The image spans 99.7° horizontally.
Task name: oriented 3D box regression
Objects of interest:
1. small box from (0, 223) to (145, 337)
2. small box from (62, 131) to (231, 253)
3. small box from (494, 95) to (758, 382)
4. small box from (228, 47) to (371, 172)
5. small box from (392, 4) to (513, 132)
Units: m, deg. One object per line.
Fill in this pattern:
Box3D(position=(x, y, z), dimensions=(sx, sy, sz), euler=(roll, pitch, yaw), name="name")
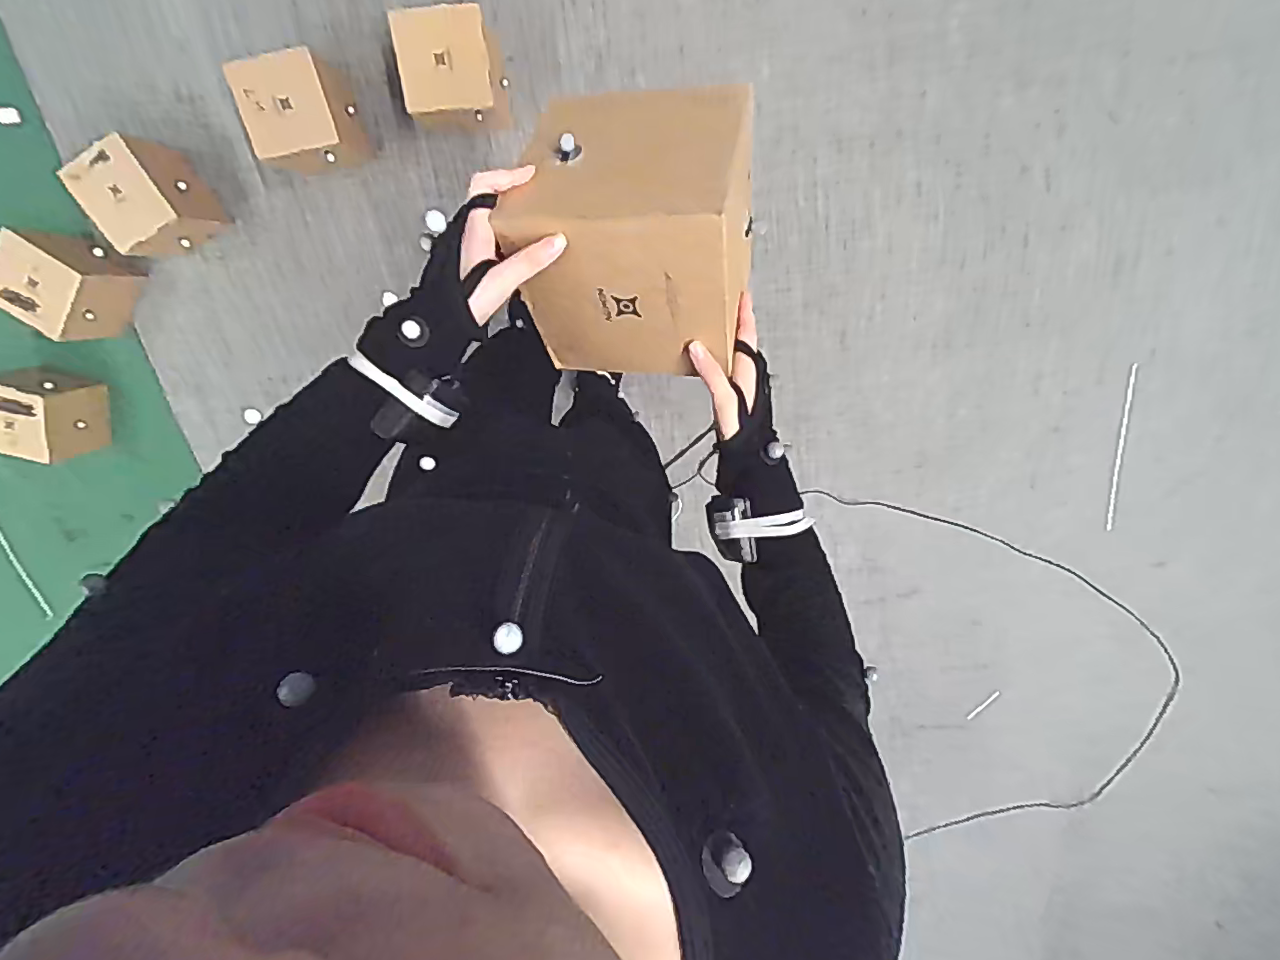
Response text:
Box3D(position=(-1.304, -0.454, 1.239), dimensions=(0.168, 0.176, 0.179), euler=(36, 106, -13), name="small box")
Box3D(position=(-1.059, -0.616, 1.180), dimensions=(0.168, 0.176, 0.179), euler=(-25, 109, 9), name="small box")
Box3D(position=(0.003, -0.211, 0.482), dimensions=(0.179, 0.176, 0.168), euler=(7, 152, 14), name="small box")
Box3D(position=(-0.691, -0.761, 1.128), dimensions=(0.179, 0.176, 0.168), euler=(-10, 110, 2), name="small box")
Box3D(position=(-0.373, -0.831, 1.108), dimensions=(0.179, 0.176, 0.168), euler=(-4, 111, 0), name="small box")
